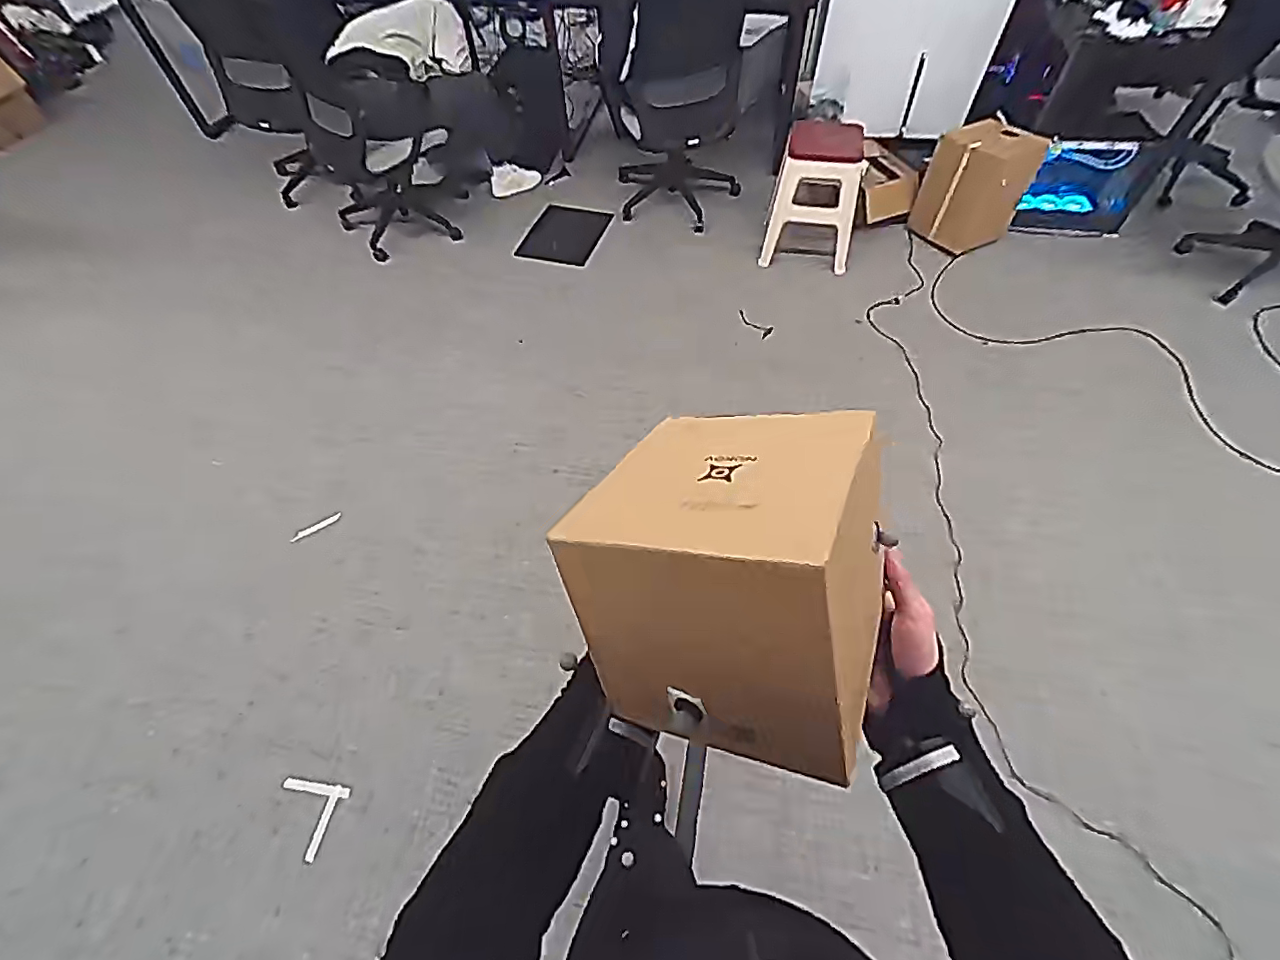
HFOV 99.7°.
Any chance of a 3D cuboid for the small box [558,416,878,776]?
[{"bbox_3d":[0.074,0.067,0.391,0.168,0.176,0.179,1,32,30],"label":"small box"}]
